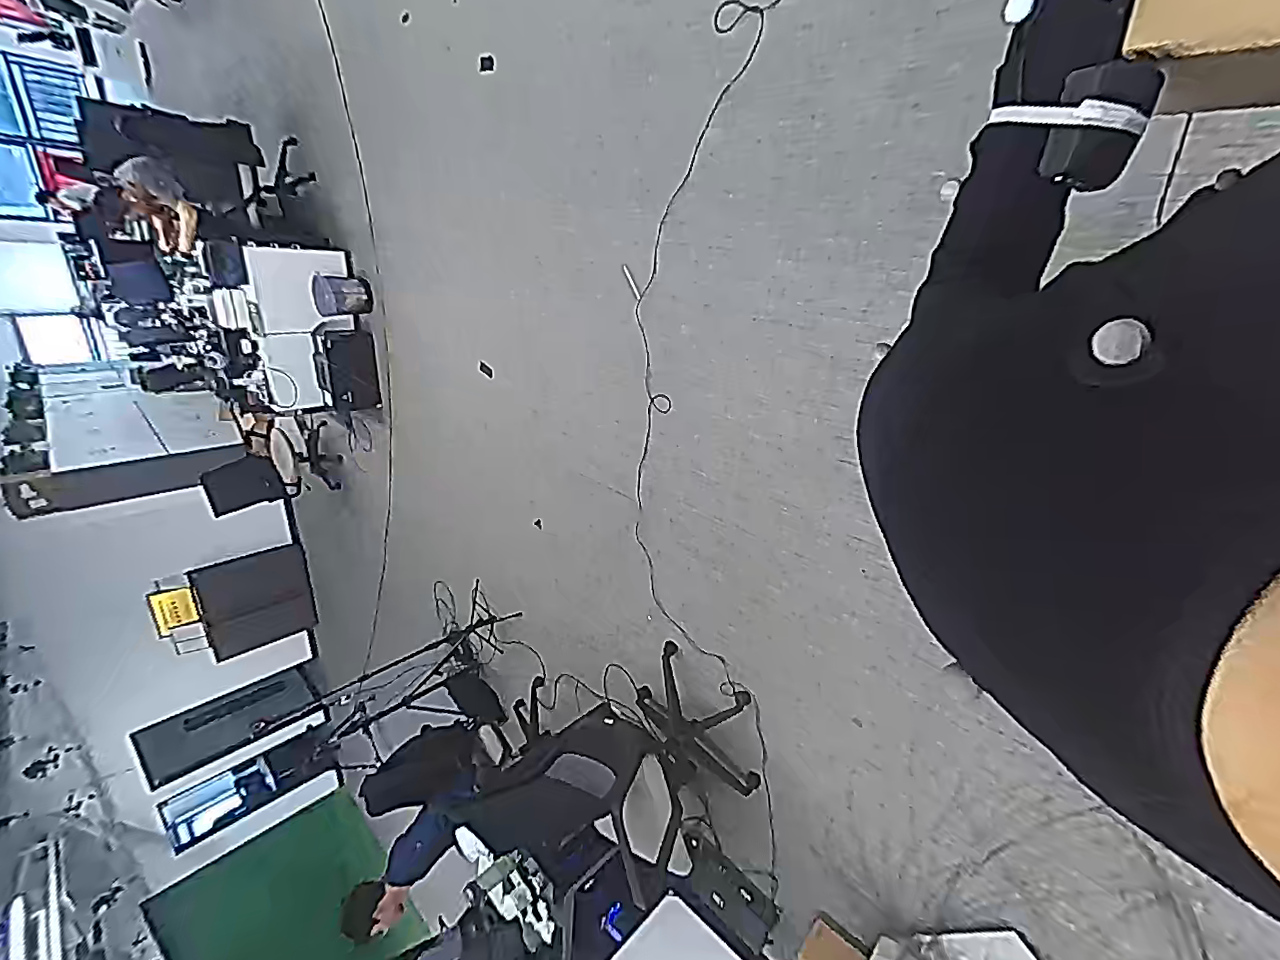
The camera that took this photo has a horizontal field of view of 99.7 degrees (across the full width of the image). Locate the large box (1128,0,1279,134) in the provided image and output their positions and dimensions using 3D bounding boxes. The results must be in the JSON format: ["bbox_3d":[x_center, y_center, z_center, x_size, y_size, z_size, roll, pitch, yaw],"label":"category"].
[{"bbox_3d":[0.556,-0.391,0.270,0.408,0.320,0.320,20,123,37],"label":"large box"}]
